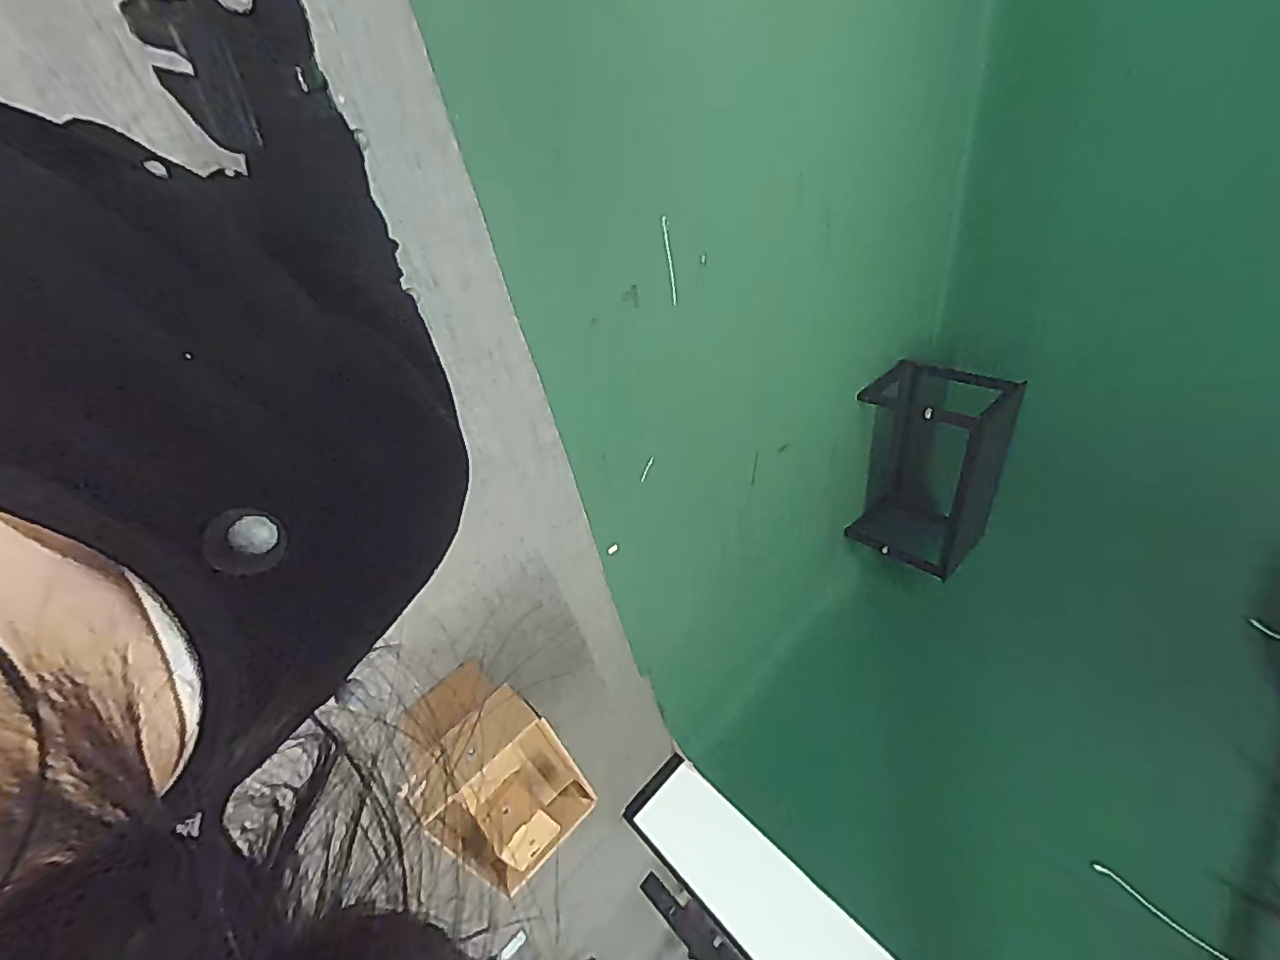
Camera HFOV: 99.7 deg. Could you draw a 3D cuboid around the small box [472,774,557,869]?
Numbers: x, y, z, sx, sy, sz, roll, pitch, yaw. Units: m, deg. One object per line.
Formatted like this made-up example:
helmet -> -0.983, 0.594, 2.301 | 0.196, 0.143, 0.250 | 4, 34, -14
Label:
small box -> -0.402, 1.077, 1.717 | 0.168, 0.176, 0.179 | -40, 132, -23
